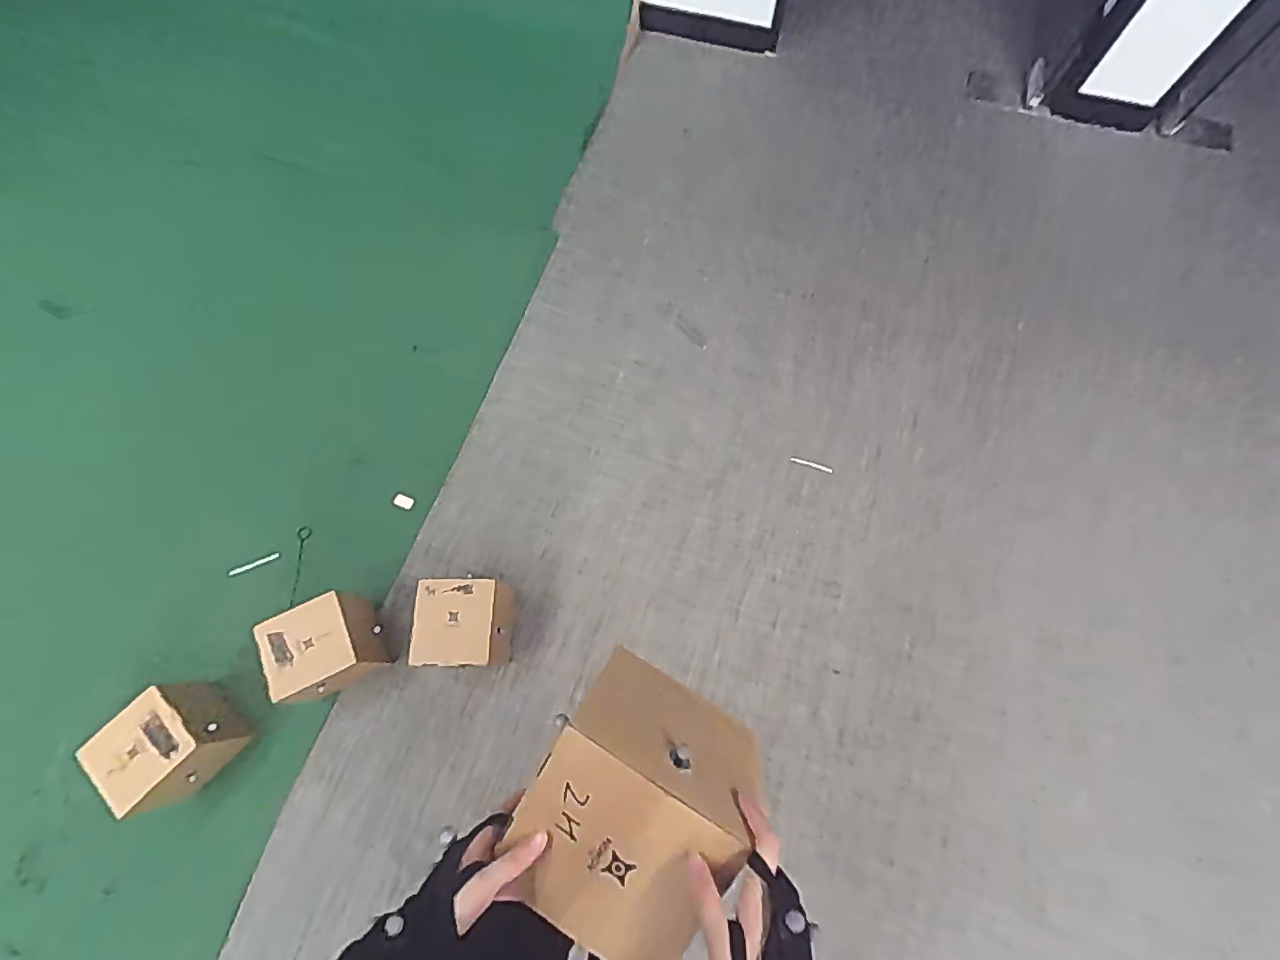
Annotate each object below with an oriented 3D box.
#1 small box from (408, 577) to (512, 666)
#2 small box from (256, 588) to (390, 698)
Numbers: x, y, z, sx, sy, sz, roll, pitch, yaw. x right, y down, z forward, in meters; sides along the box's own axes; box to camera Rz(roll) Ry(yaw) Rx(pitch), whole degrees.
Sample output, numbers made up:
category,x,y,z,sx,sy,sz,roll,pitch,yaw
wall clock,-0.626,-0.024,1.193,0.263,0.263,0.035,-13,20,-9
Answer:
category,x,y,z,sx,sy,sz,roll,pitch,yaw
small box,-0.386,0.313,1.189,0.168,0.176,0.179,0,72,1
small box,-0.682,0.357,1.178,0.179,0.176,0.168,-25,73,-8
